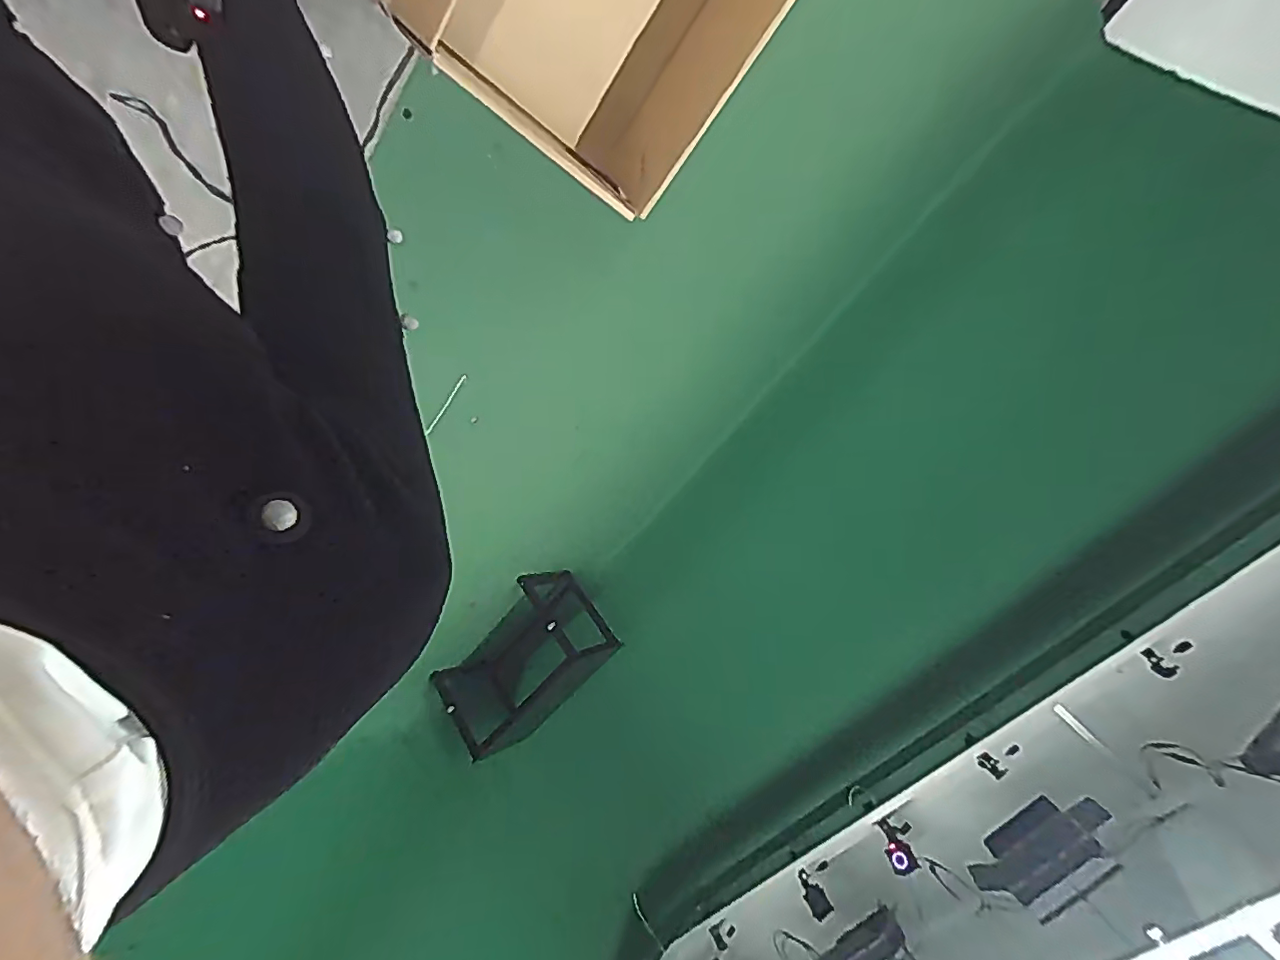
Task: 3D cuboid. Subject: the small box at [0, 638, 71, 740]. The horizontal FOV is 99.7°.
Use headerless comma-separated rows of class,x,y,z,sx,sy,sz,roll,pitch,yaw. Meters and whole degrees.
small box,-1.646,0.546,1.403,0.179,0.176,0.168,-25,152,-32
